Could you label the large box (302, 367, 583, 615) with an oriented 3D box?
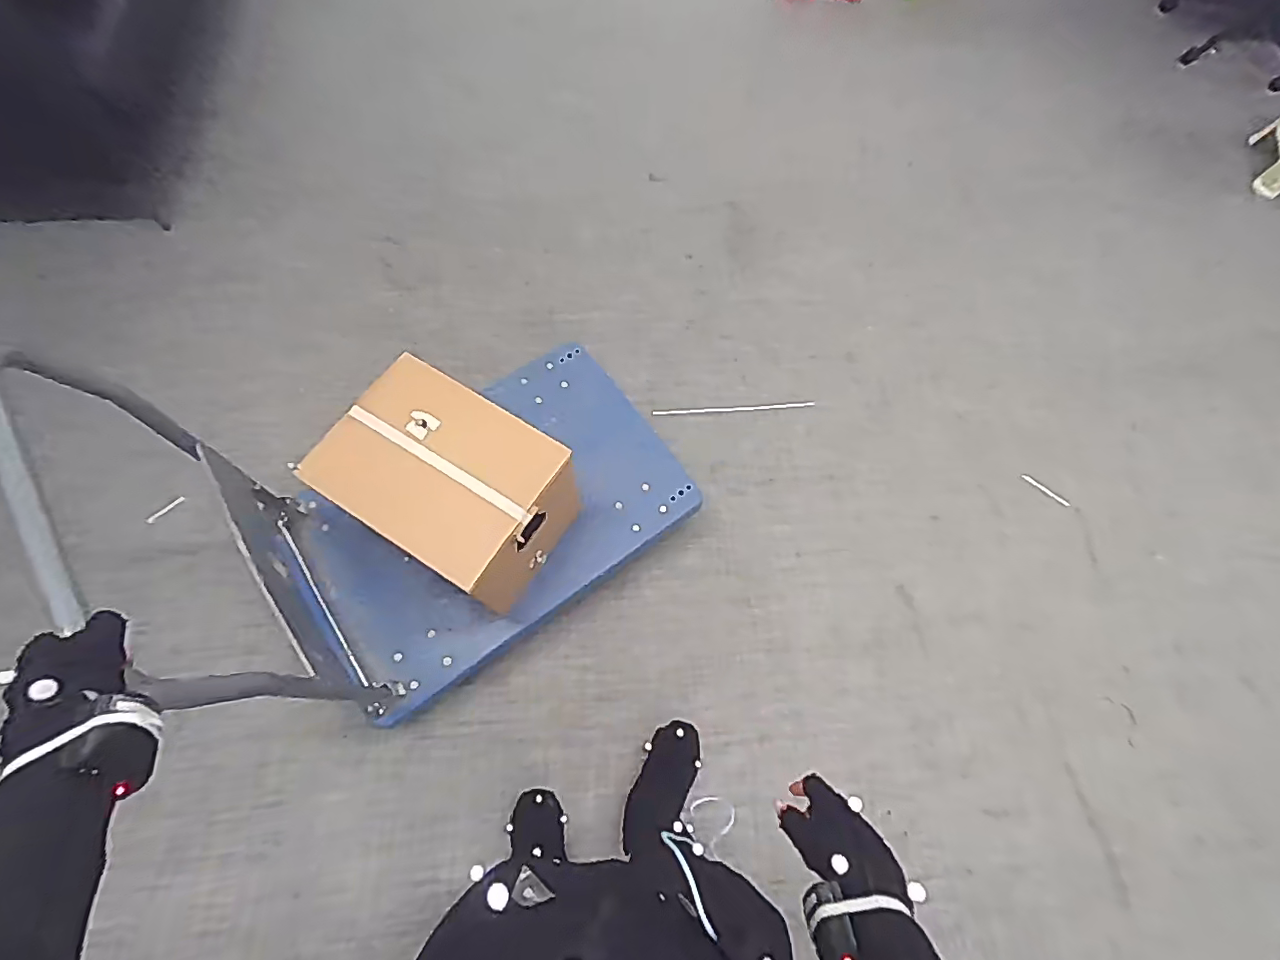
[{"bbox_3d":[-0.376,0.039,1.141,0.408,0.320,0.320,29,70,10],"label":"large box"}]
